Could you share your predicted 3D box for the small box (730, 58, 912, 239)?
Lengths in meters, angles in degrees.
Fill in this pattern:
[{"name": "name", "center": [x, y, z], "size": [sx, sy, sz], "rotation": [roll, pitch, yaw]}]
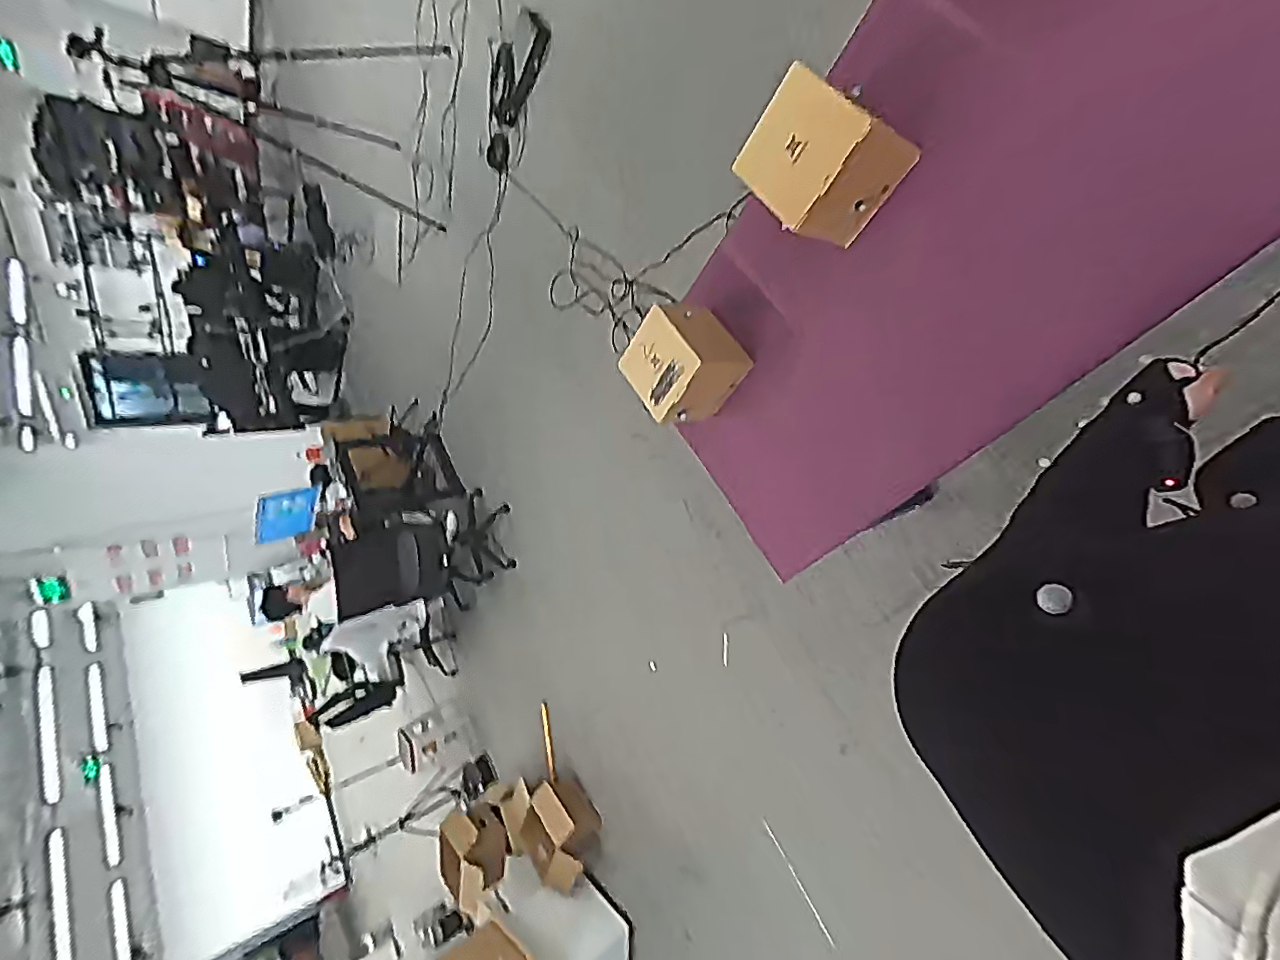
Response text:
[{"name": "small box", "center": [0.284, -0.507, 0.853], "size": [0.179, 0.176, 0.168], "rotation": [56, 133, 22]}]
